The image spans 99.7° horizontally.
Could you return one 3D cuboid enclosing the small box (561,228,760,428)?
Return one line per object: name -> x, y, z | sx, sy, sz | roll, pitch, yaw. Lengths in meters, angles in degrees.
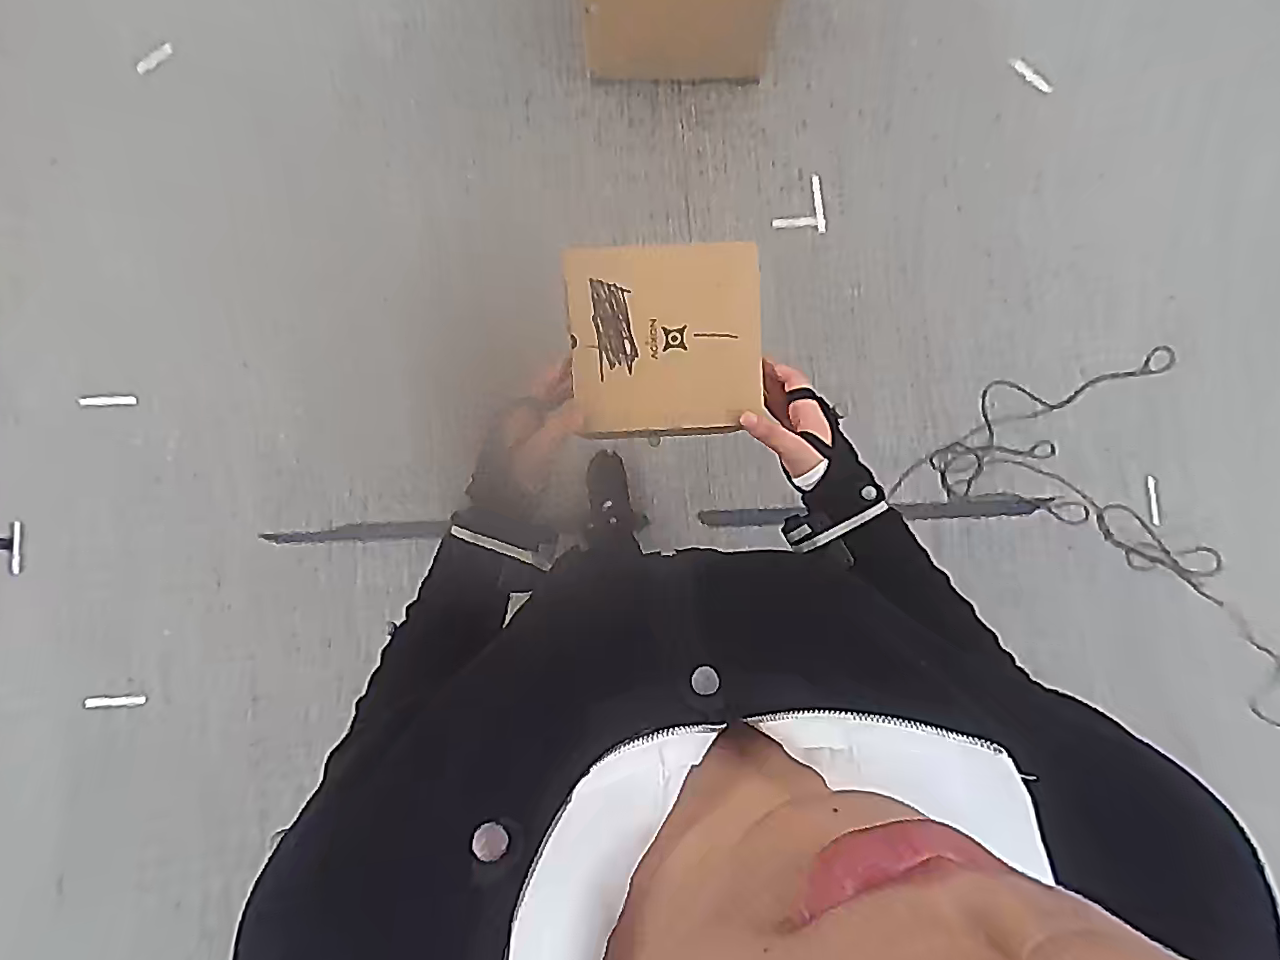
small box -> 0.019, -0.144, 0.567 | 0.179, 0.176, 0.168 | -3, 93, -1
